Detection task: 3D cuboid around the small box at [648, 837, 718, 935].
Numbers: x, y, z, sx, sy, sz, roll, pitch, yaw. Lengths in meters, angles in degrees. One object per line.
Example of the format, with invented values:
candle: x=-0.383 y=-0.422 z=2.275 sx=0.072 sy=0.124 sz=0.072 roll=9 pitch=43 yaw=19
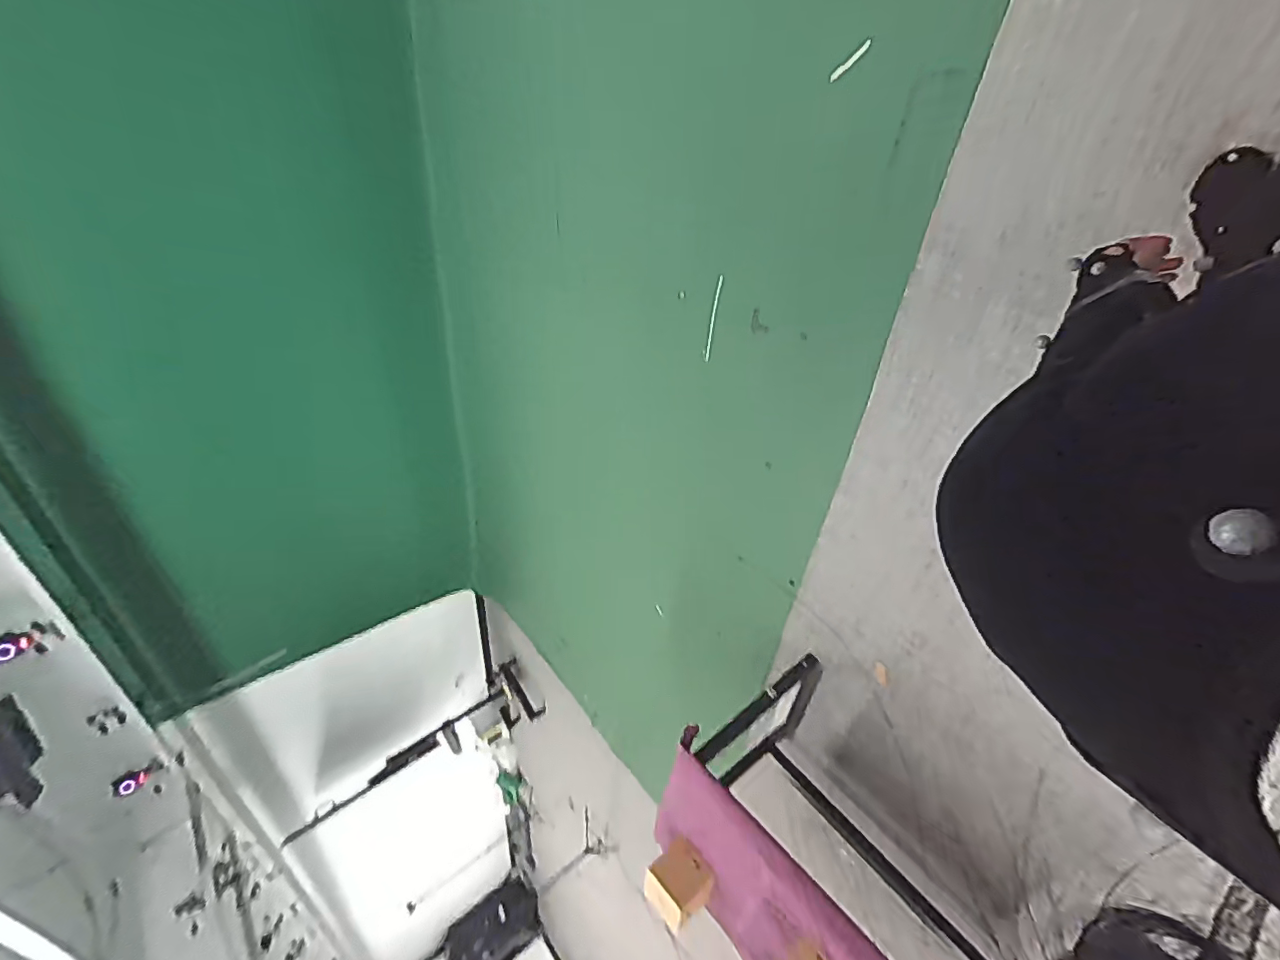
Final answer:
small box: x=0.145 y=1.370 z=1.833 sx=0.168 sy=0.176 sz=0.179 roll=32 pitch=130 yaw=38
